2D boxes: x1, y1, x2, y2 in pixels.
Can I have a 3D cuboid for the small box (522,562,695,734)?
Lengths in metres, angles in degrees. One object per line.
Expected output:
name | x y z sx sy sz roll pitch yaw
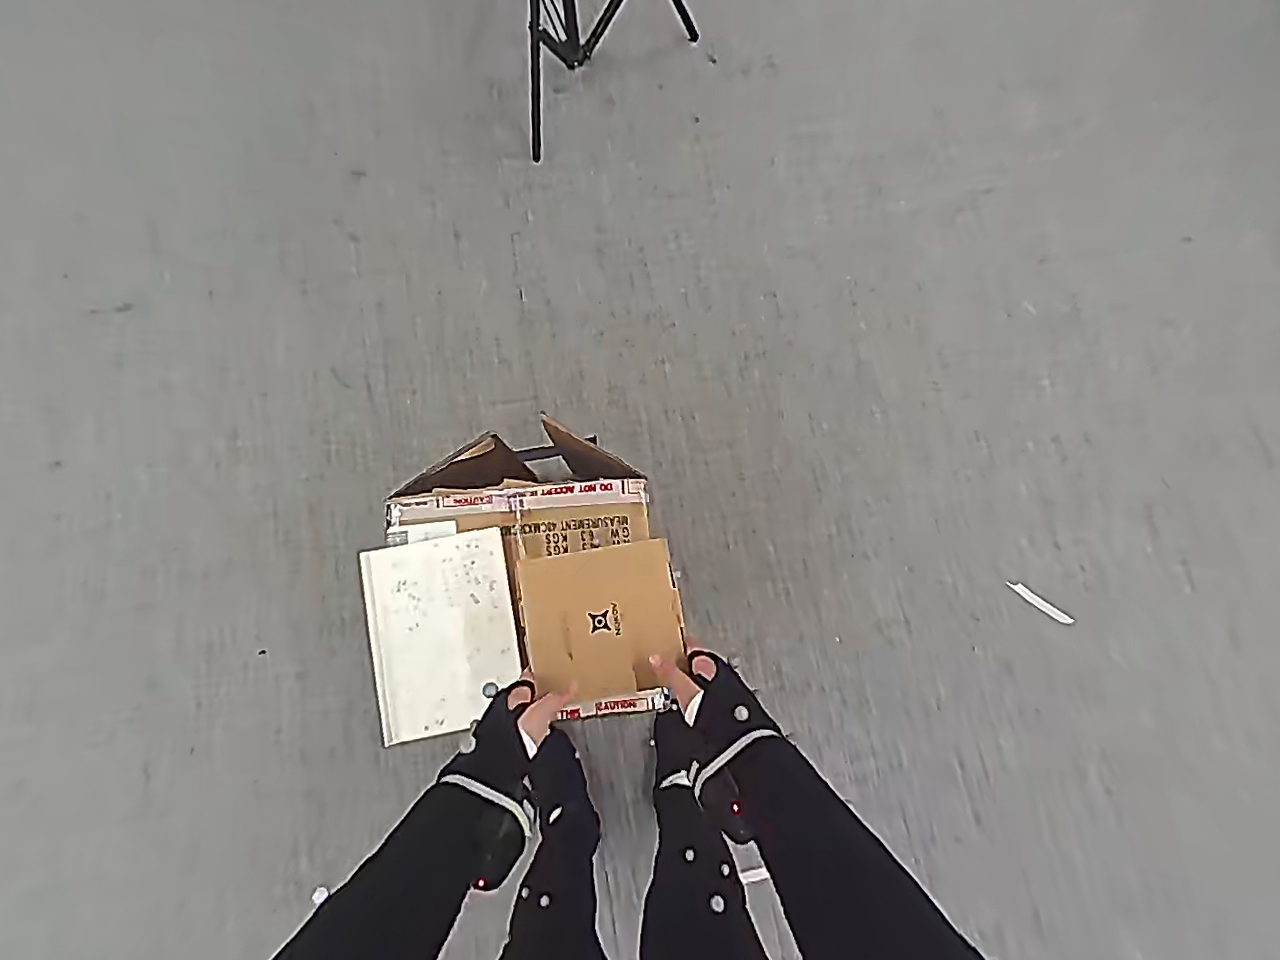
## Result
small box | -0.038 0.199 0.687 0.179 0.176 0.168 -11 80 -1
